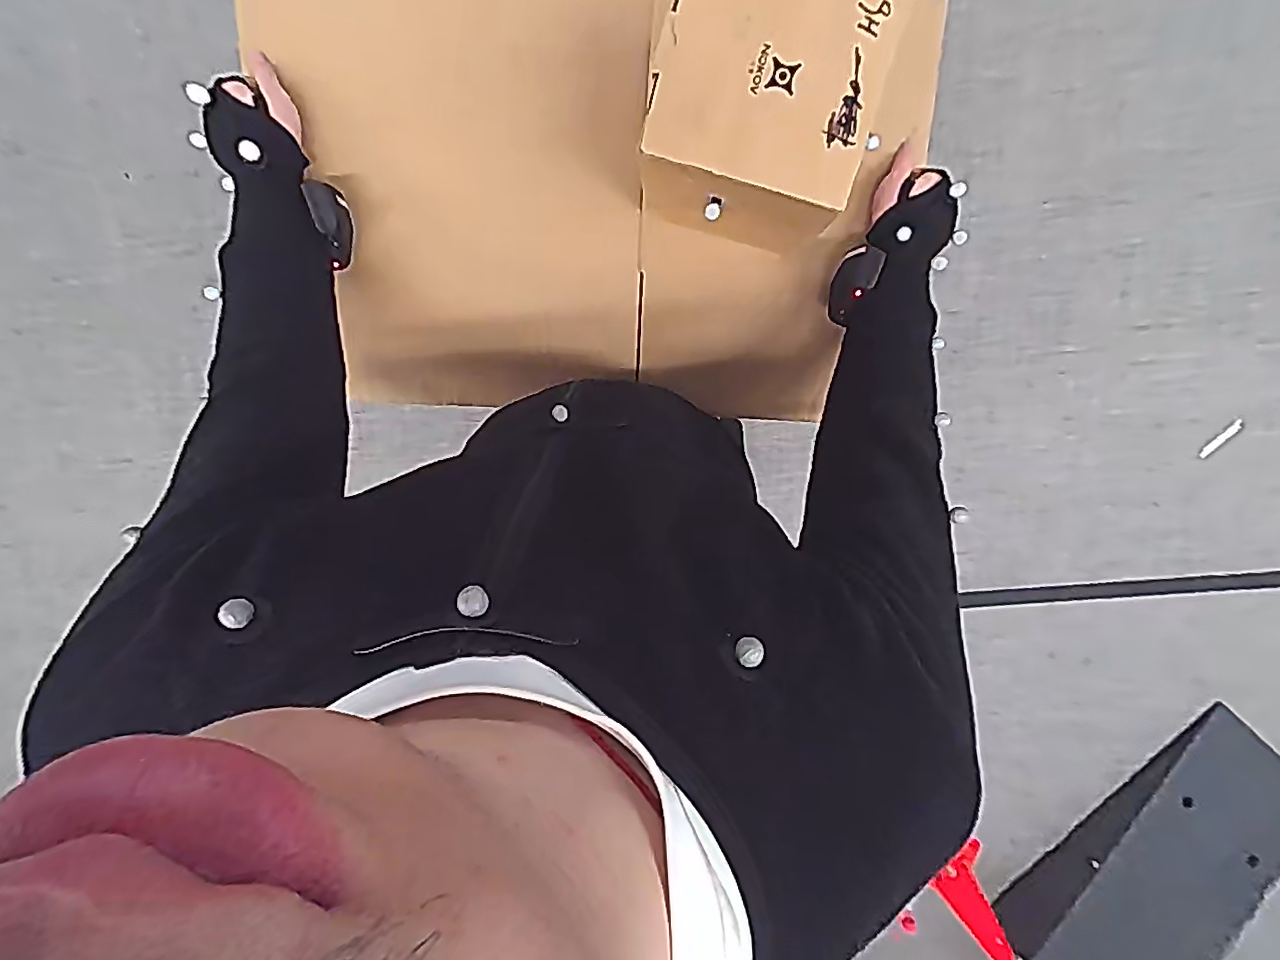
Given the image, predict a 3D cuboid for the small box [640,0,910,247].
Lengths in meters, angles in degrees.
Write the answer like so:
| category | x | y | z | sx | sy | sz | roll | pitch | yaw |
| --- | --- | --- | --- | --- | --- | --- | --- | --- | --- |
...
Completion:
| category | x | y | z | sx | sy | sz | roll | pitch | yaw |
| --- | --- | --- | --- | --- | --- | --- | --- | --- | --- |
| small box | 0.110 | -0.337 | 0.506 | 0.179 | 0.176 | 0.168 | 16 | 101 | 1 |
